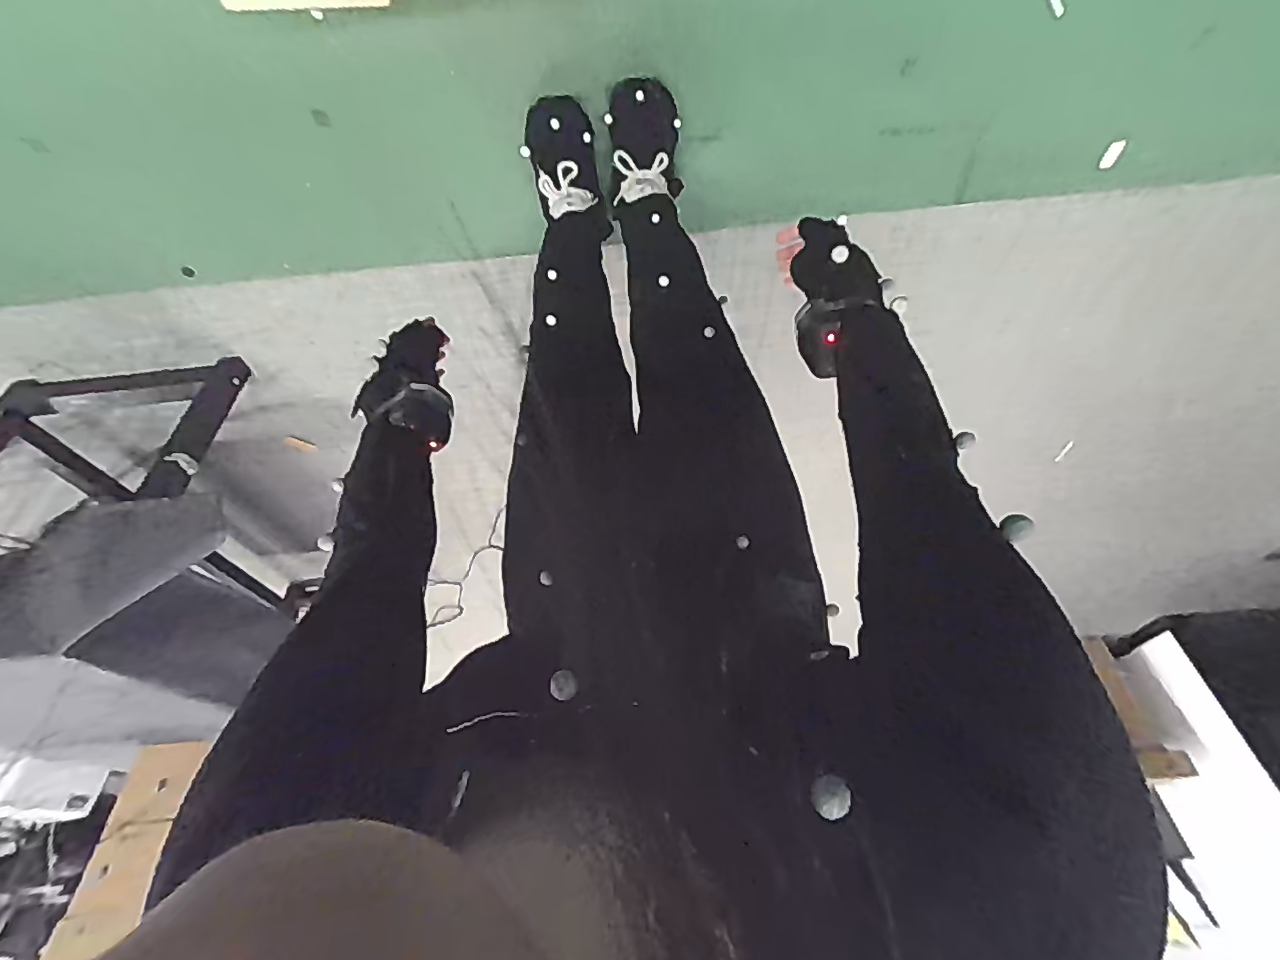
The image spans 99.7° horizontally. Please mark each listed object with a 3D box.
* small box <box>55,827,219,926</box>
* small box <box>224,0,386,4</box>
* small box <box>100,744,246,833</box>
[{"bbox_3d":[-1.103,0.879,1.205,0.168,0.176,0.179,-6,142,3],"label":"small box"},{"bbox_3d":[-0.350,-0.610,0.551,0.179,0.176,0.168,-3,142,-1],"label":"small box"},{"bbox_3d":[-1.109,0.748,1.302,0.179,0.176,0.168,-5,142,1],"label":"small box"}]
